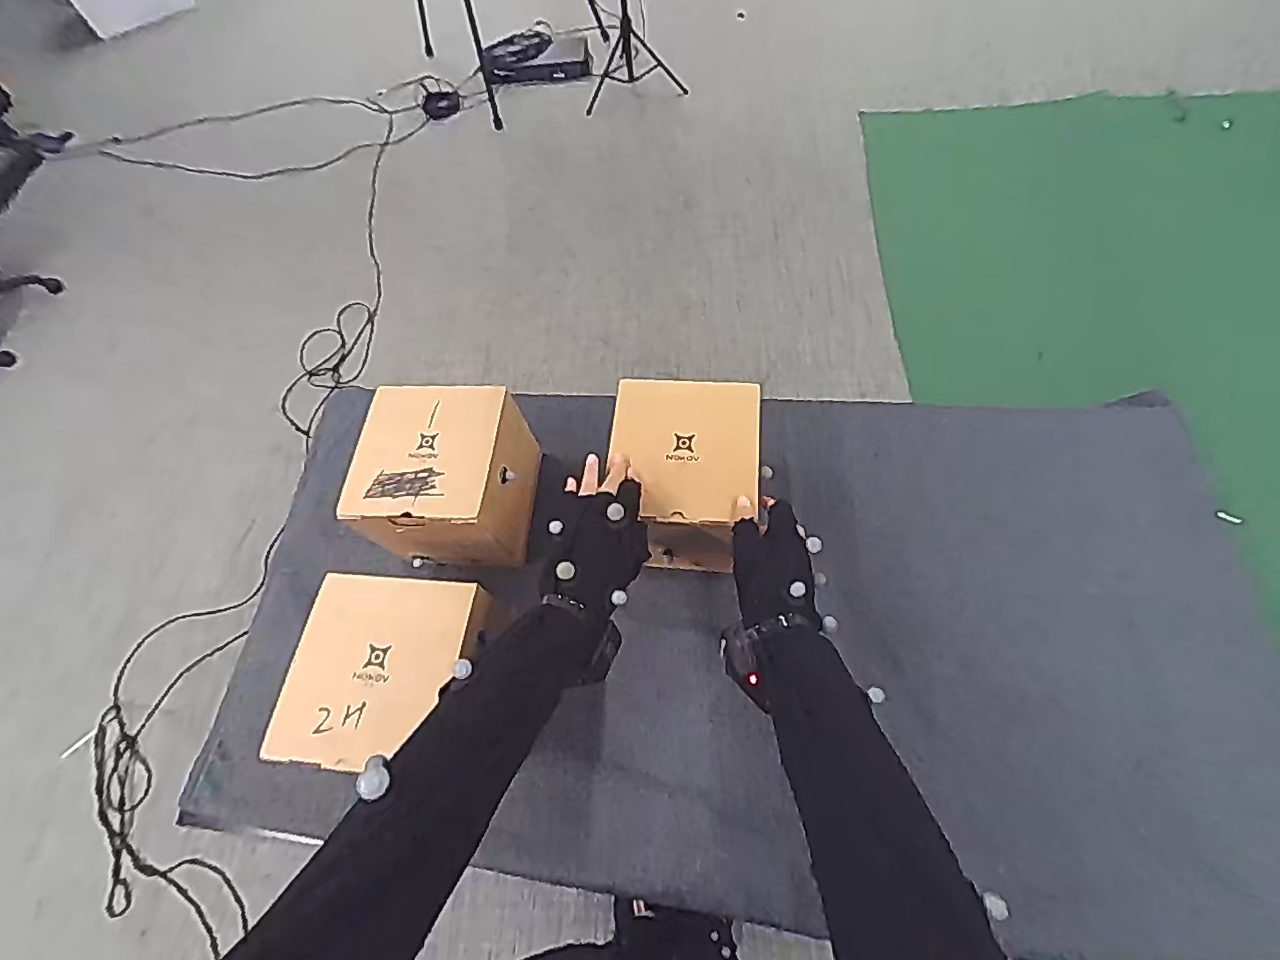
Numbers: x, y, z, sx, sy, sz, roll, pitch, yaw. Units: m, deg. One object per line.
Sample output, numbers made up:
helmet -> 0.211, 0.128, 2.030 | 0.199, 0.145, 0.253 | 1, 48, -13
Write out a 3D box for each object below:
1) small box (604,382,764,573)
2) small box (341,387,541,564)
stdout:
small box -> 0.058, 0.002, 0.664 | 0.168, 0.176, 0.179 | 3, 65, 7
small box -> -0.234, 0.000, 0.689 | 0.168, 0.176, 0.179 | 2, 64, 6
